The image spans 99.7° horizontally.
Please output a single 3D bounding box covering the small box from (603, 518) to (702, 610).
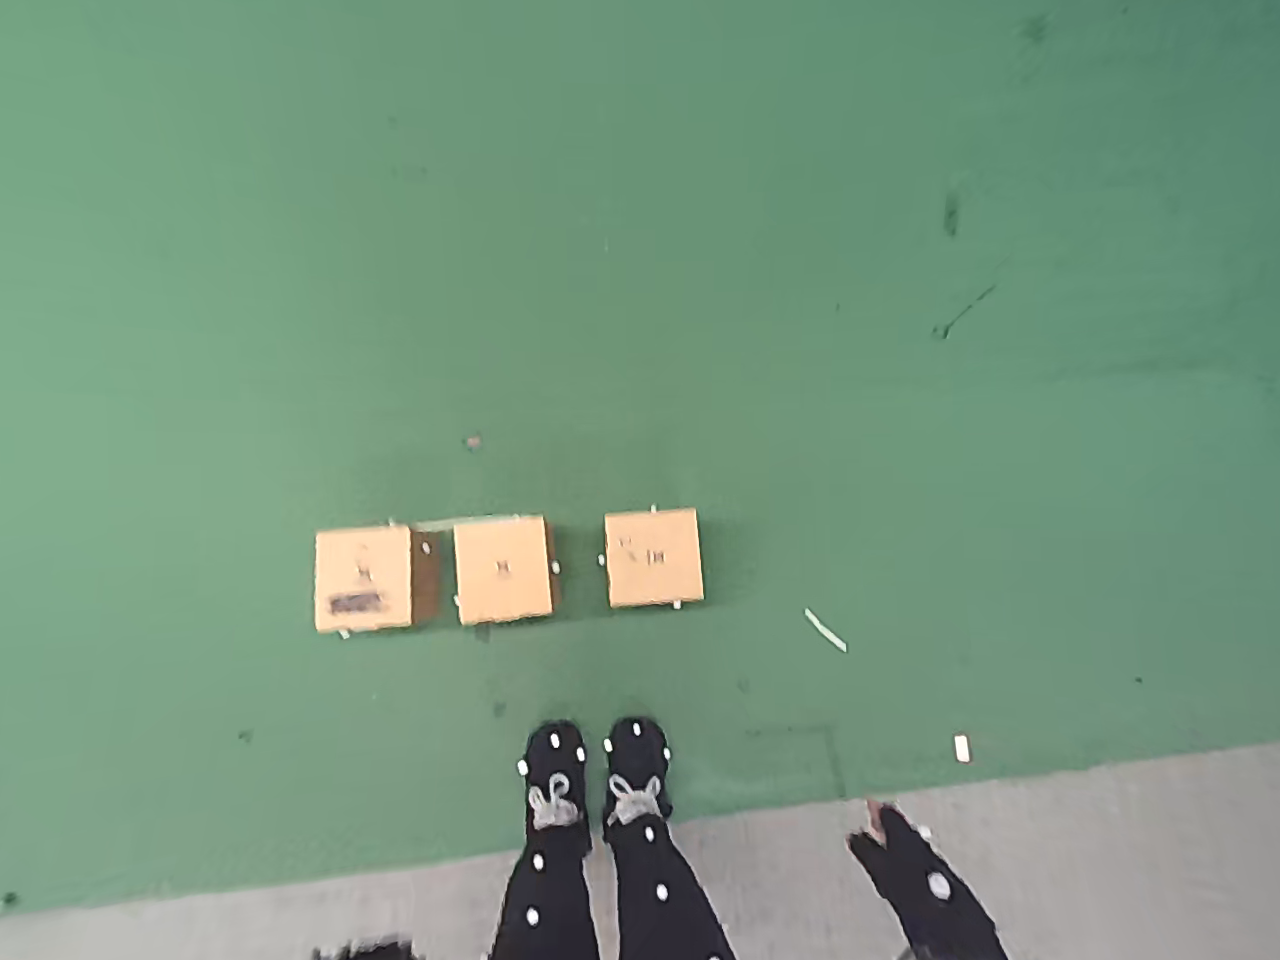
[{"bbox_3d":[0.019,0.165,1.083,0.179,0.176,0.168,-3,81,-5],"label":"small box"}]

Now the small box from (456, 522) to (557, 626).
[{"bbox_3d":[-0.255,0.182,1.064,0.168,0.176,0.179,-6,83,-5],"label":"small box"}]
